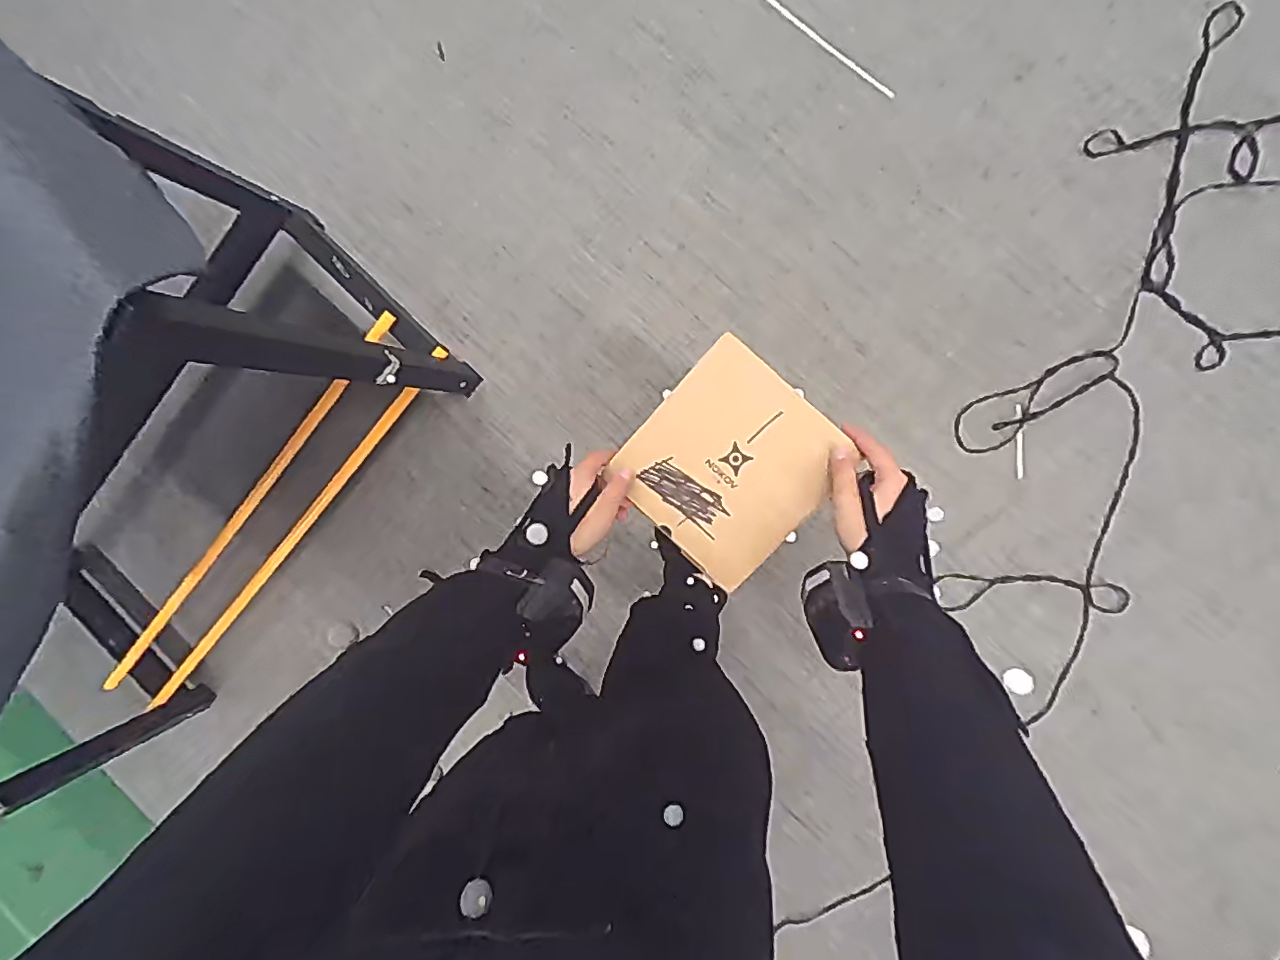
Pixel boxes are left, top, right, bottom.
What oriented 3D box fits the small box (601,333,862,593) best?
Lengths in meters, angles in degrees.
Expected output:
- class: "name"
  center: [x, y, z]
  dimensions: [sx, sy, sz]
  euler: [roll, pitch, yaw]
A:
- class: "small box"
  center: [0.091, -0.018, 0.559]
  dimensions: [0.168, 0.176, 0.179]
  euler: [43, 99, 4]
